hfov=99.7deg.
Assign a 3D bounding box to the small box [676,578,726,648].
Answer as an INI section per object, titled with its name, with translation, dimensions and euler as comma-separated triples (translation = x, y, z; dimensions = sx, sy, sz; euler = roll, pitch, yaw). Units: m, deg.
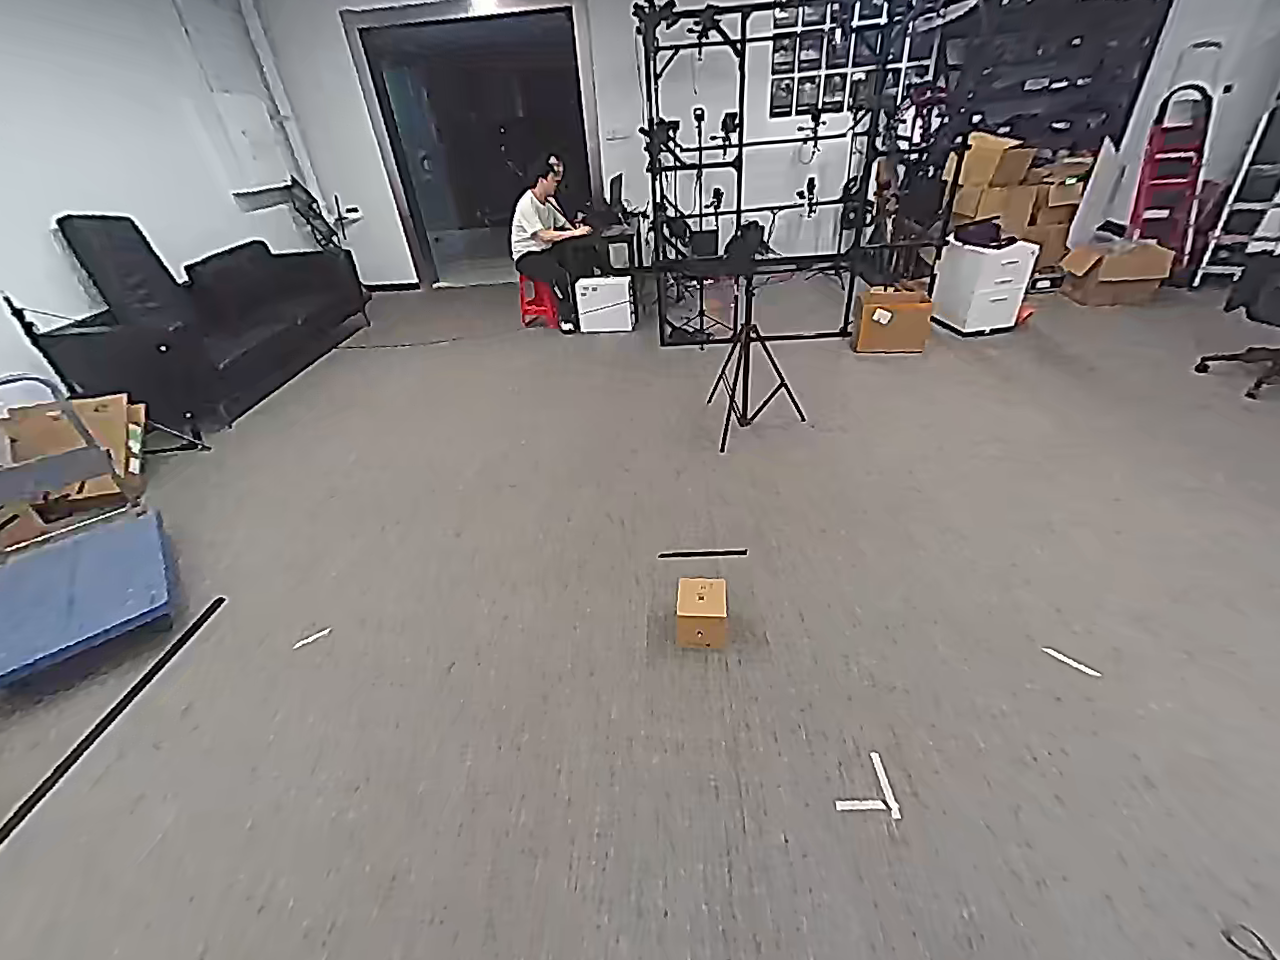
[small box]
translation = 0.216, 0.463, 1.874
dimensions = 0.168, 0.176, 0.179
euler = 0, 34, 7
